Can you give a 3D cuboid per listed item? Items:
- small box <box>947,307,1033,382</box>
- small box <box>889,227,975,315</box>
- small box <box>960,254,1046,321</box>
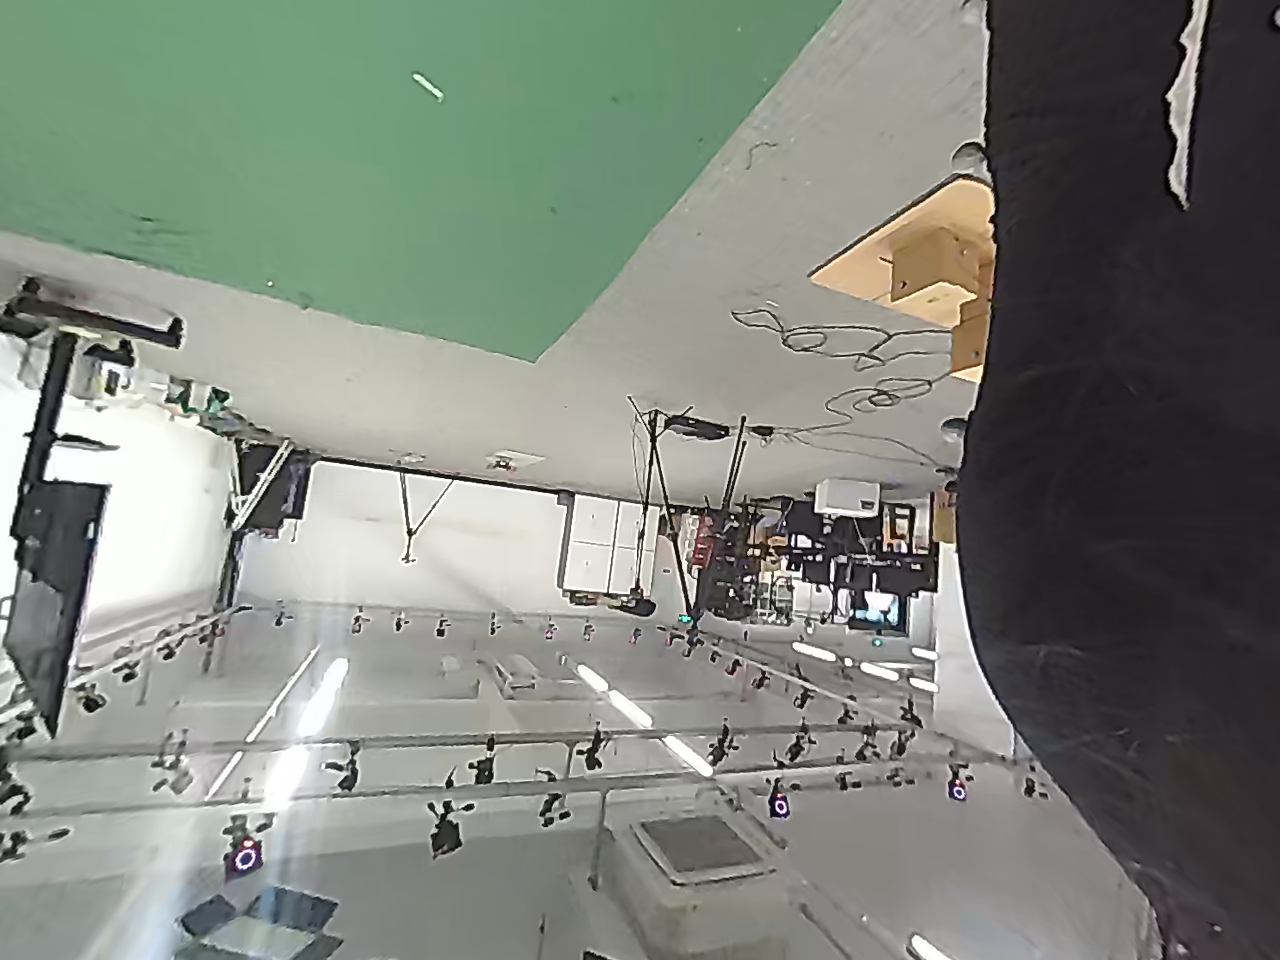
[{"bbox_3d":[1.124,-0.431,1.733,0.168,0.176,0.179,9,172,-21],"label":"small box"},{"bbox_3d":[0.891,-0.633,1.647,0.168,0.176,0.179,8,172,-25],"label":"small box"},{"bbox_3d":[1.155,-0.593,1.729,0.168,0.176,0.179,8,172,-18],"label":"small box"}]
